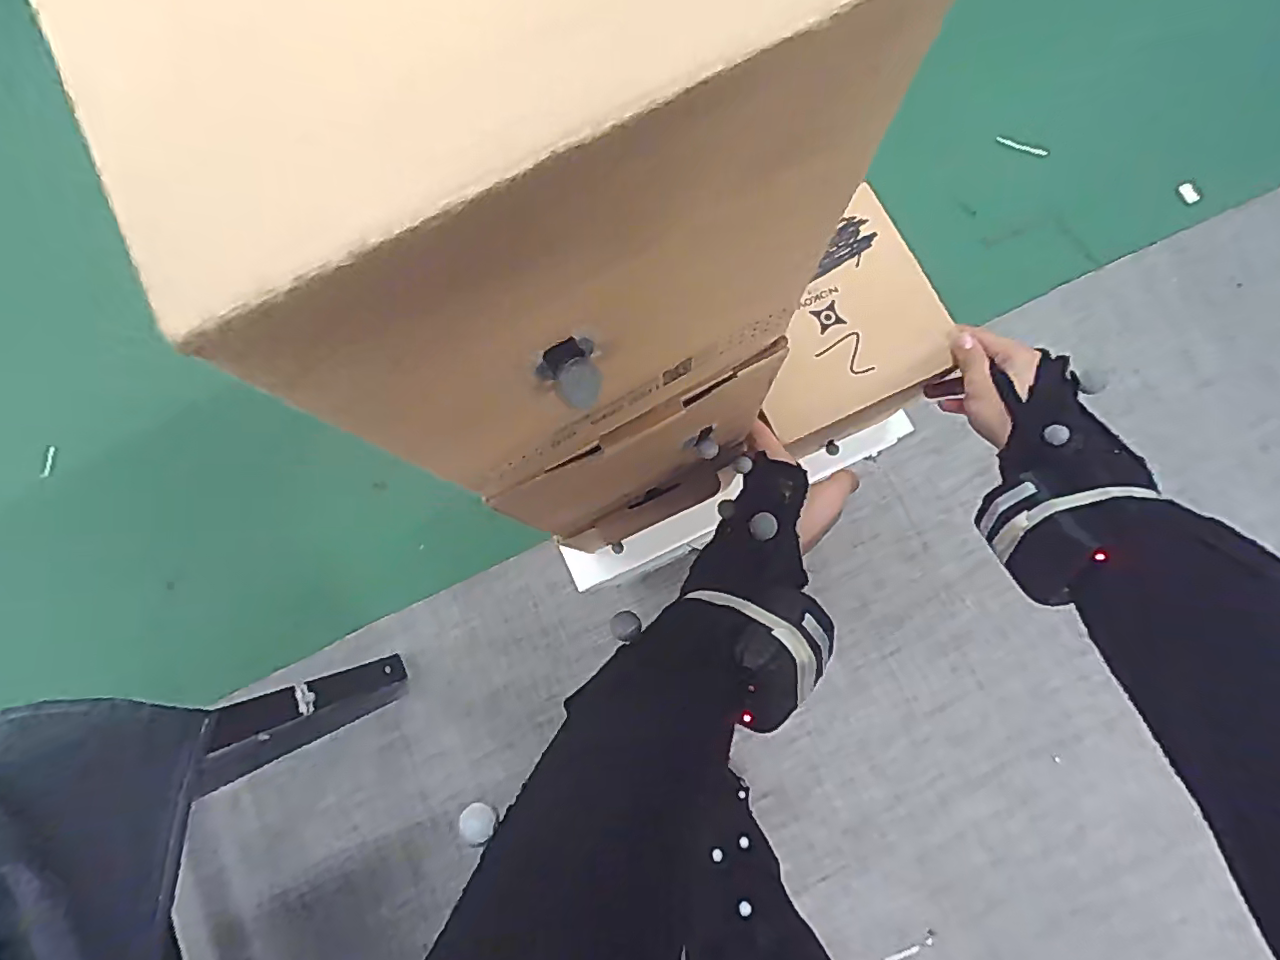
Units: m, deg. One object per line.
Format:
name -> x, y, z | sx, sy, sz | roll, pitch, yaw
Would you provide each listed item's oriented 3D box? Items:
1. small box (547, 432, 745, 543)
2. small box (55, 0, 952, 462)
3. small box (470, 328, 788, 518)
small box -> -0.020, -0.049, 0.507 | 0.168, 0.176, 0.179 | -25, 79, -2
small box -> -0.040, -0.120, 0.190 | 0.168, 0.176, 0.179 | -29, 79, -3
small box -> -0.033, -0.086, 0.349 | 0.168, 0.176, 0.179 | -27, 78, -4
